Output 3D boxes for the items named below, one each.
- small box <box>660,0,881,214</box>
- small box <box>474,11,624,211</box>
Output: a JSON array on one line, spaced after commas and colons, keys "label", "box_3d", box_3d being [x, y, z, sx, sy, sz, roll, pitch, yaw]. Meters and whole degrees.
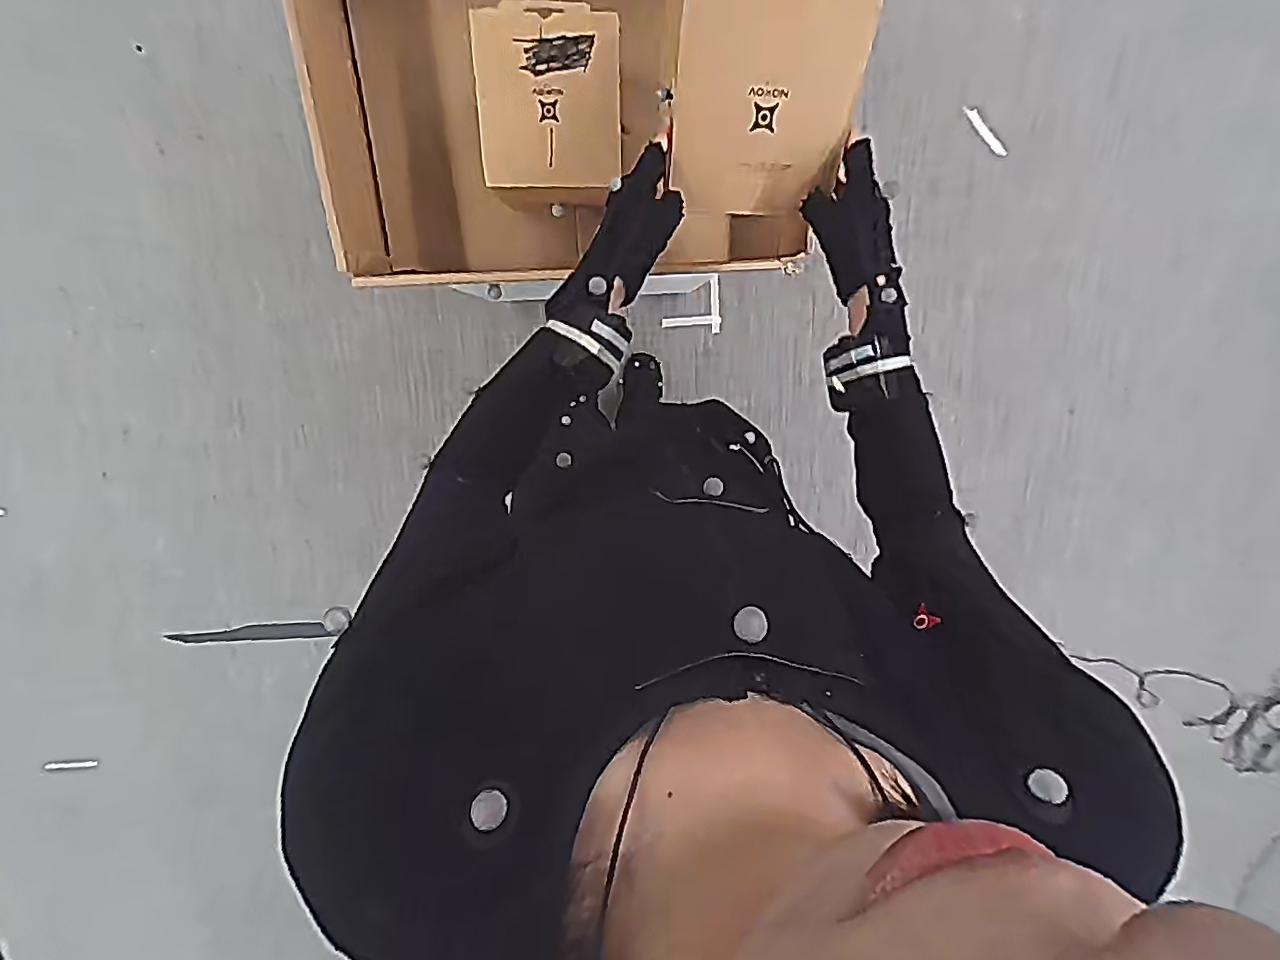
[{"label": "small box", "box_3d": [0.111, -0.390, 0.552, 0.168, 0.176, 0.179, 0, 132, -4]}, {"label": "small box", "box_3d": [-0.107, -0.456, 0.696, 0.168, 0.176, 0.179, -2, 109, -3]}]
